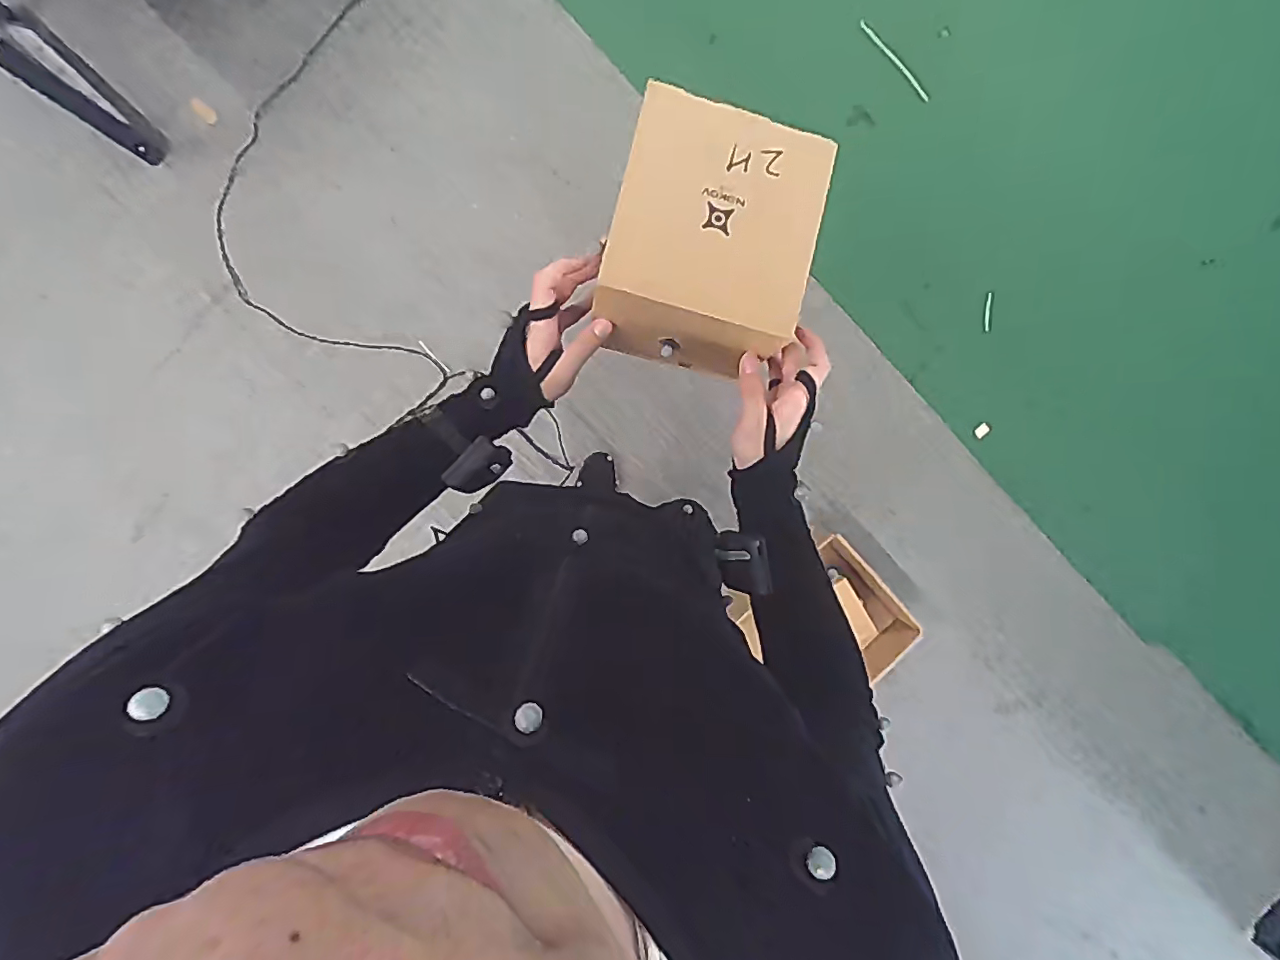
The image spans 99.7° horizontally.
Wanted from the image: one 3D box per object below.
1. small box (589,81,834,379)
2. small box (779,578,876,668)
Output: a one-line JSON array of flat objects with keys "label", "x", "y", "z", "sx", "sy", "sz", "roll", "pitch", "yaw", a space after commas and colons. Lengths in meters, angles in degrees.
[{"label": "small box", "x": 0.051, "y": -0.209, "z": 0.509, "sx": 0.168, "sy": 0.176, "sz": 0.179, "roll": 15, "pitch": 86, "yaw": -7}, {"label": "small box", "x": 0.524, "y": 0.395, "z": 1.539, "sx": 0.168, "sy": 0.176, "sz": 0.179, "roll": -31, "pitch": 94, "yaw": -2}]
